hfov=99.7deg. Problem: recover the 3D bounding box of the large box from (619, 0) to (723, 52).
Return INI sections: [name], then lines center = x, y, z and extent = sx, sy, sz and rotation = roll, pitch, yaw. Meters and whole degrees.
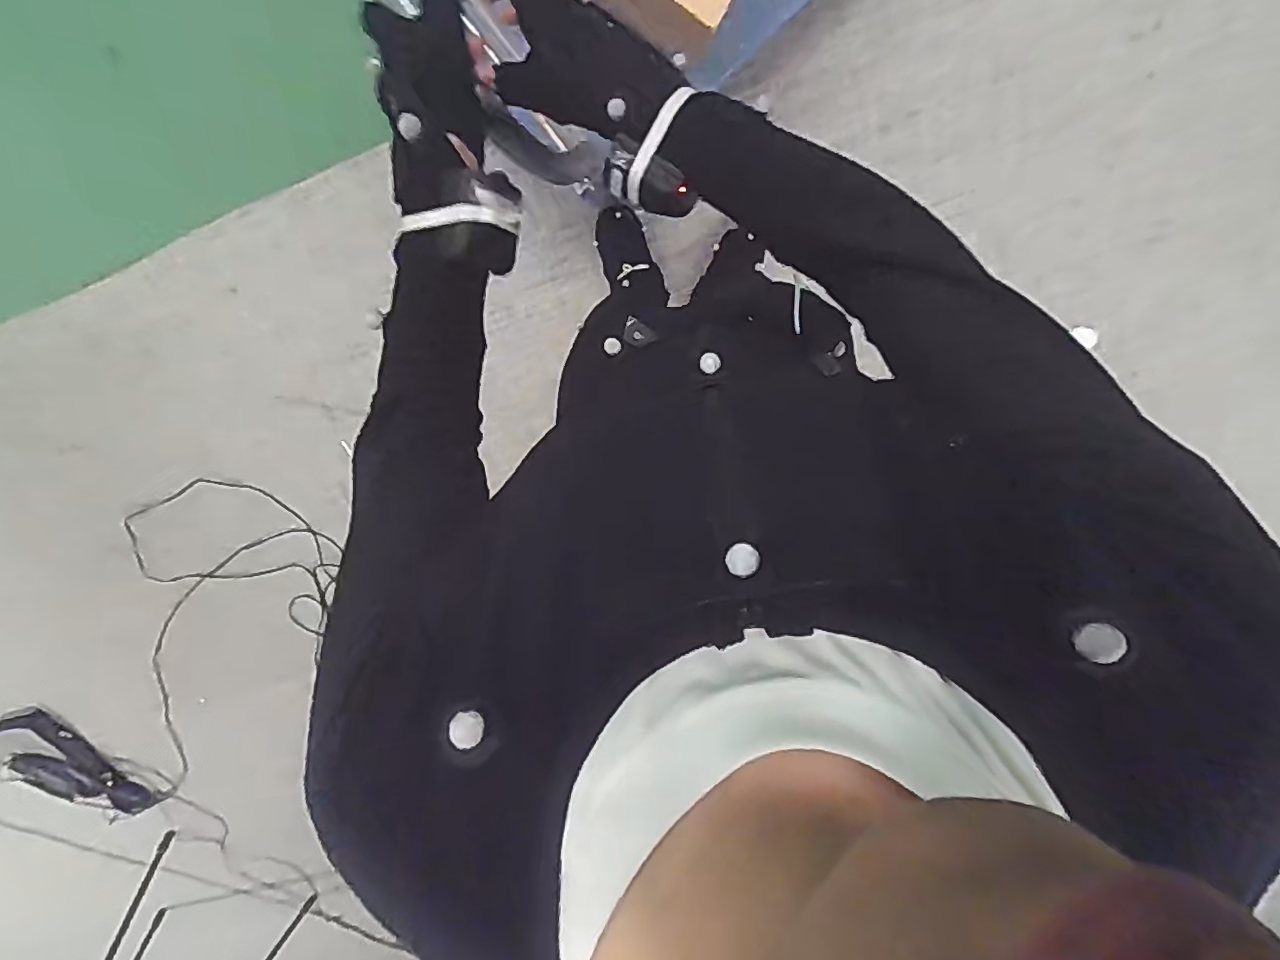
[large box]
center = -0.002, -0.880, 0.723
extent = 0.408, 0.320, 0.320
rotation = 28, 116, -15
